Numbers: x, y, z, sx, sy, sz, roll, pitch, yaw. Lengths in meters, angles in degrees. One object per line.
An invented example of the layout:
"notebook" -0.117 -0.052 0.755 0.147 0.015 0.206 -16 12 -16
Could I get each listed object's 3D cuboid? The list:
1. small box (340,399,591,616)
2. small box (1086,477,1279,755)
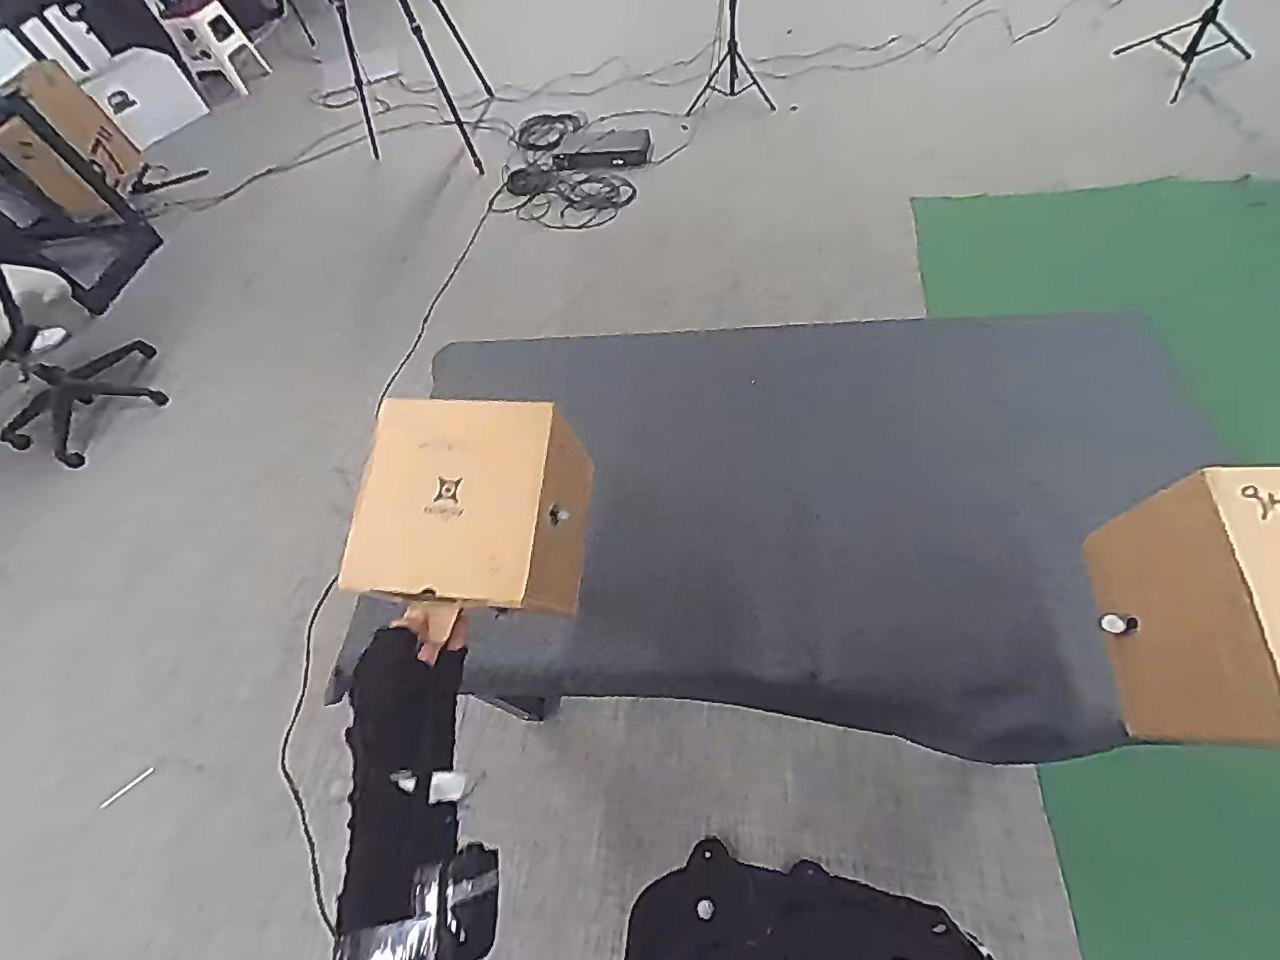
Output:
"small box" -0.150 0.036 0.532 0.168 0.176 0.179 3 72 8
"small box" 0.478 0.108 0.395 0.168 0.176 0.179 -1 67 13
